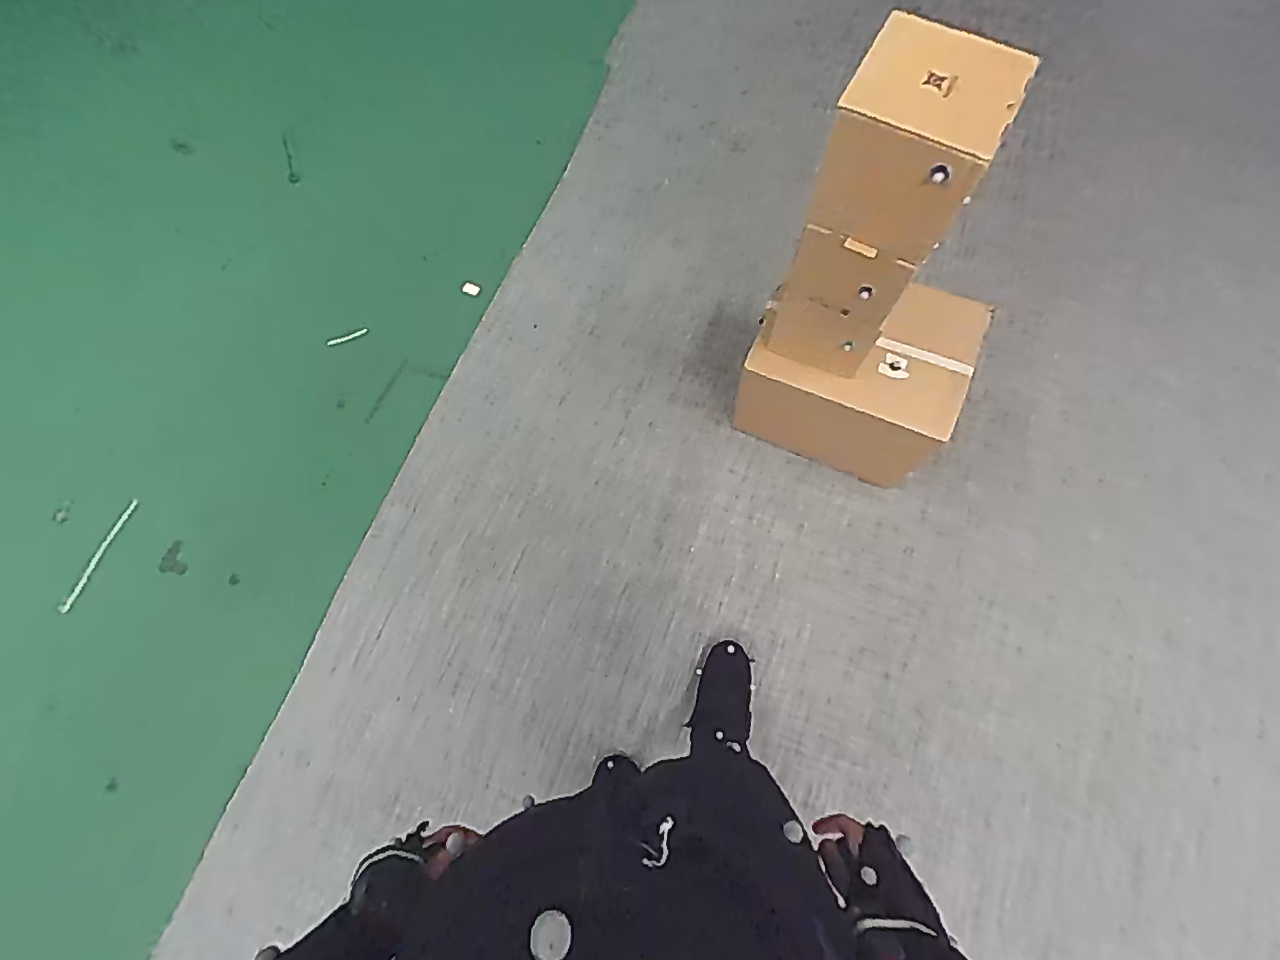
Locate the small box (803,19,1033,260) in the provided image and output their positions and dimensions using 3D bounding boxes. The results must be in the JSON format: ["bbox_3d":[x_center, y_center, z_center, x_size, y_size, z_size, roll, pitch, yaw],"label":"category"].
[{"bbox_3d":[0.328,-0.412,0.676,0.179,0.176,0.168,28,76,10],"label":"small box"}]

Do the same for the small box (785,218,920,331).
[{"bbox_3d":[0.339,-0.363,0.831,0.168,0.176,0.179,26,76,9],"label":"small box"}]

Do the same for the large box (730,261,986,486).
[{"bbox_3d":[0.453,-0.230,1.207,0.408,0.320,0.320,23,77,10],"label":"large box"}]
